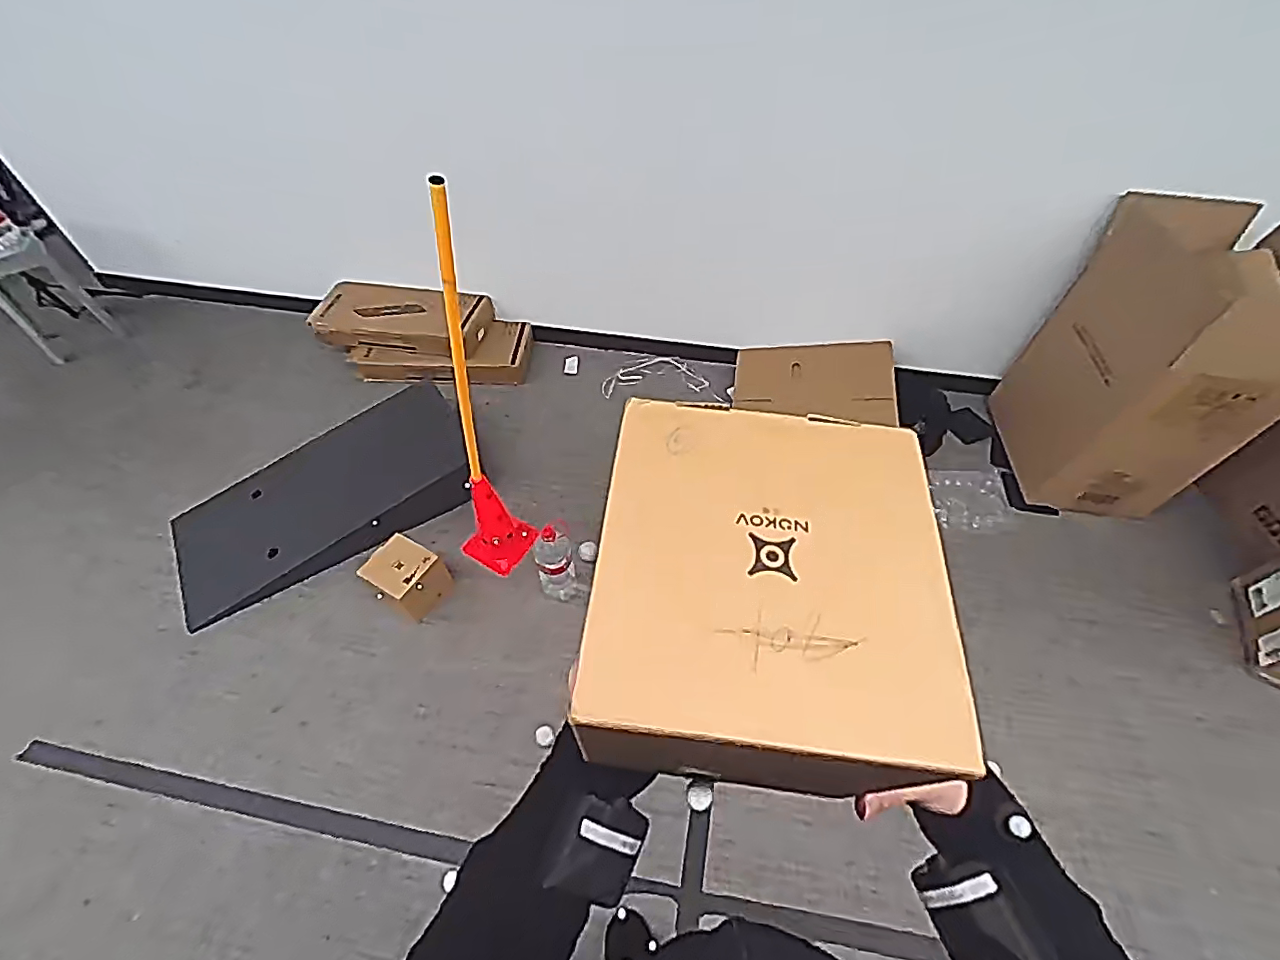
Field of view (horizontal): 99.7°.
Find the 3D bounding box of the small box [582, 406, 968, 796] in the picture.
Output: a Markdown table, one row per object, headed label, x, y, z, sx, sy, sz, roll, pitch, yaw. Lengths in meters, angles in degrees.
| label | x | y | z | sx | sy | sz | roll | pitch | yaw |
| --- | --- | --- | --- | --- | --- | --- | --- | --- | --- |
| small box | 0.062 | 0.082 | 0.337 | 0.168 | 0.176 | 0.179 | 8 | 57 | 2 |
